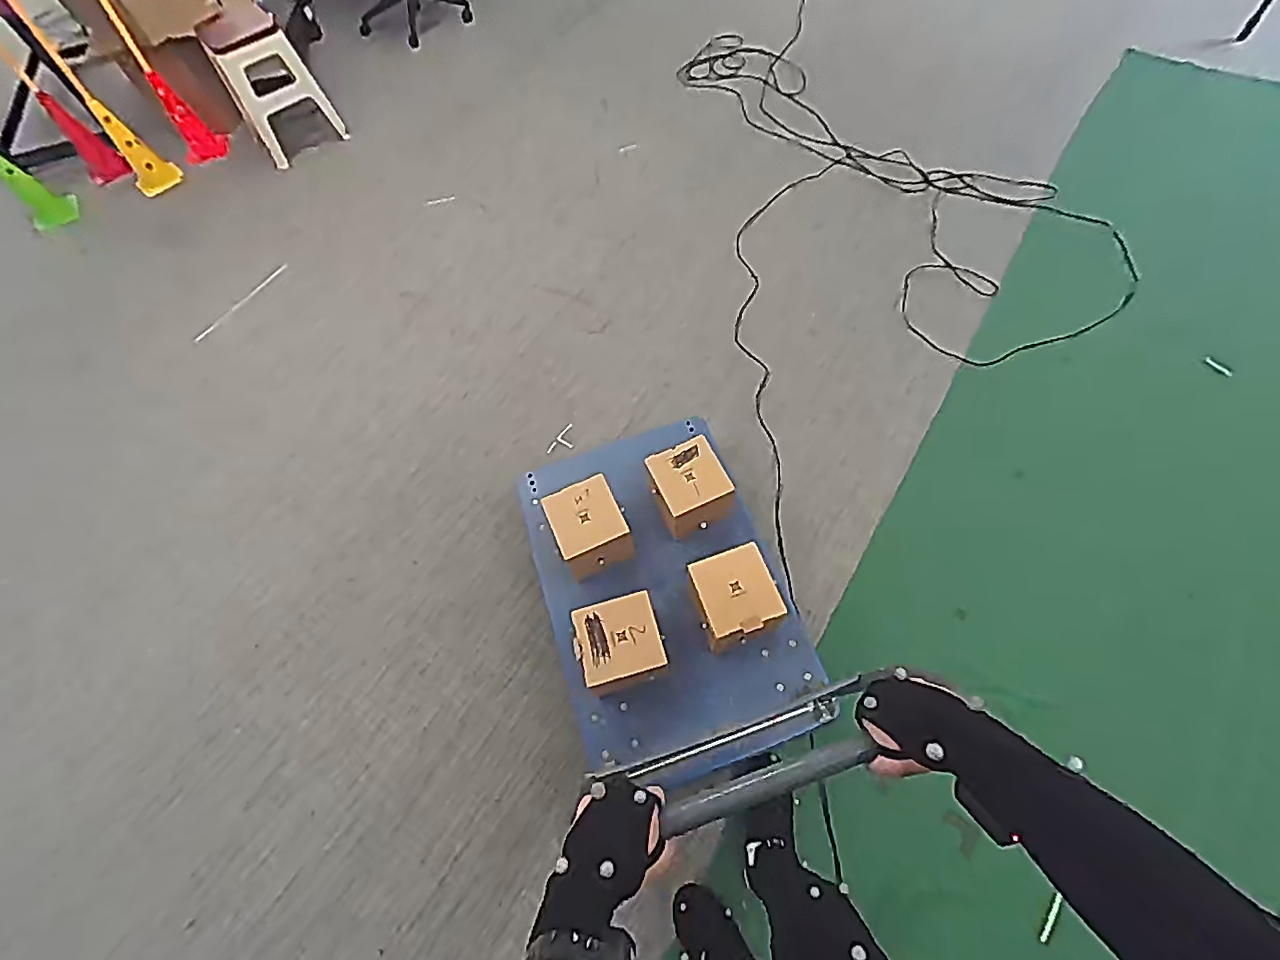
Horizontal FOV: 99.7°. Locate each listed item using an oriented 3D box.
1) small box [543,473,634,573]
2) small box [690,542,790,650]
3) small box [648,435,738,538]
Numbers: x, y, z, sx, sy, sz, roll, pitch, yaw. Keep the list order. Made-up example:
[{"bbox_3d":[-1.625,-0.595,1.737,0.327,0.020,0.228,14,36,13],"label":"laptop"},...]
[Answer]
[{"bbox_3d":[-0.122,0.116,1.348,0.168,0.176,0.179,-23,64,-8],"label":"small box"},{"bbox_3d":[0.219,0.271,1.246,0.168,0.176,0.179,-18,64,-5],"label":"small box"},{"bbox_3d":[0.130,0.020,1.377,0.168,0.176,0.179,-23,65,-7],"label":"small box"}]
